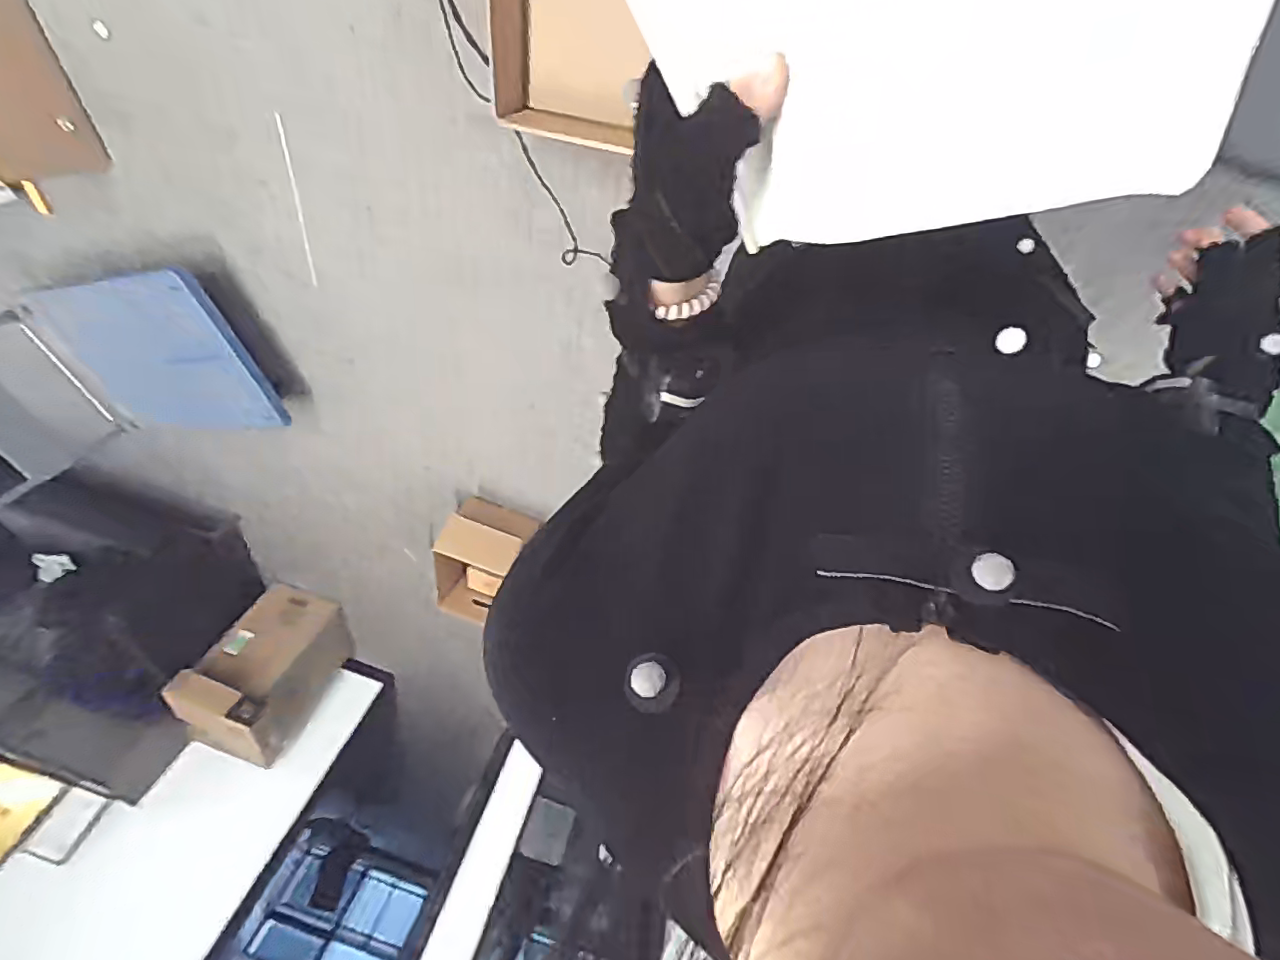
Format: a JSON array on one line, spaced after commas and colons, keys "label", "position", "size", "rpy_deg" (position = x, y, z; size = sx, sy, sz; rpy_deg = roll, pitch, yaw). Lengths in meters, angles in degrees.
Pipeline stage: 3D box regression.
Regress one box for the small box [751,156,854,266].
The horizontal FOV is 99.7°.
[{"label": "small box", "position": [0.355, -0.581, 1.181], "size": [0.168, 0.176, 0.179], "rpy_deg": [-5, 108, 34]}]
